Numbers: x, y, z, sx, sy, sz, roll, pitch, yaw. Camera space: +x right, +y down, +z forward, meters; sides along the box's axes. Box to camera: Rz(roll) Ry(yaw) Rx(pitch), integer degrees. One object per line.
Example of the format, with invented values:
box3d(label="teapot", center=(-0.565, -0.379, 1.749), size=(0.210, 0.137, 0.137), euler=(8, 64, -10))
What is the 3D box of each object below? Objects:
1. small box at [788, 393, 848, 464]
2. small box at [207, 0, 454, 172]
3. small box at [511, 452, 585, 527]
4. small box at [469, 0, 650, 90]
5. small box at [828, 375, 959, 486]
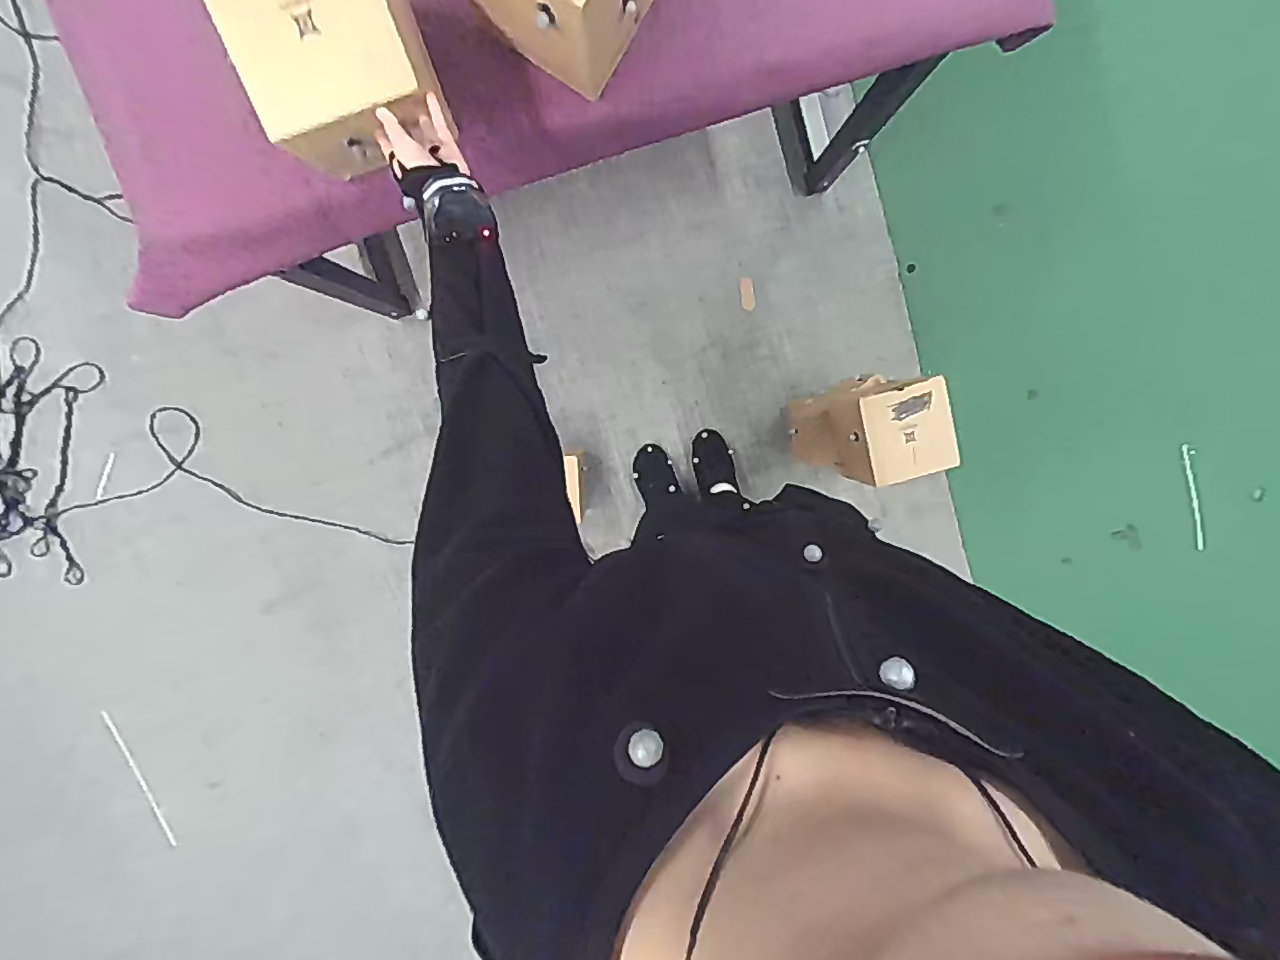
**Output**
box3d(label="small box", center=(0.491, -0.137, 1.404), size=(0.179, 0.176, 0.168), euler=(-7, 98, 0))
box3d(label="small box", center=(-0.333, -0.474, 0.605), size=(0.168, 0.176, 0.179), euler=(-19, 102, 1))
box3d(label="small box", center=(-0.235, 0.019, 1.414), size=(0.168, 0.176, 0.179), euler=(-2, 99, 0))
box3d(label="small box", center=(-0.089, -0.584, 0.599), size=(0.179, 0.176, 0.168), euler=(32, 95, -4))
box3d(label="small box", center=(0.494, -0.100, 1.077), size=(0.168, 0.176, 0.179), euler=(-15, 99, 1))
